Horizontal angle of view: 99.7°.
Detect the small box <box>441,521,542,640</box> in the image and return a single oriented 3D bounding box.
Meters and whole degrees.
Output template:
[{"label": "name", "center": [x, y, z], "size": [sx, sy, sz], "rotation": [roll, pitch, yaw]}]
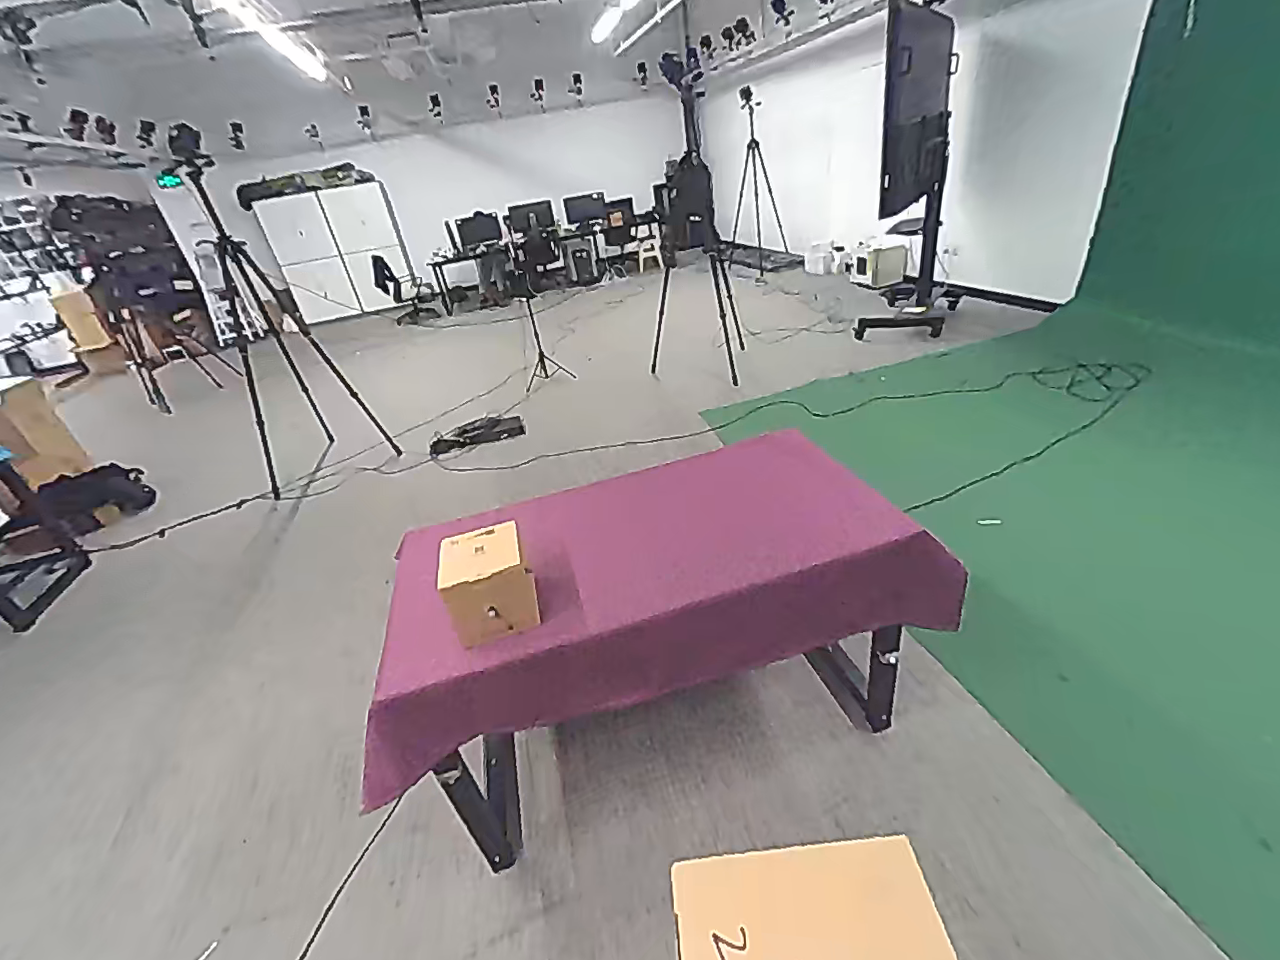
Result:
[{"label": "small box", "center": [-0.316, 0.222, 1.167], "size": [0.168, 0.176, 0.179], "rotation": [-15, 31, -8]}]
